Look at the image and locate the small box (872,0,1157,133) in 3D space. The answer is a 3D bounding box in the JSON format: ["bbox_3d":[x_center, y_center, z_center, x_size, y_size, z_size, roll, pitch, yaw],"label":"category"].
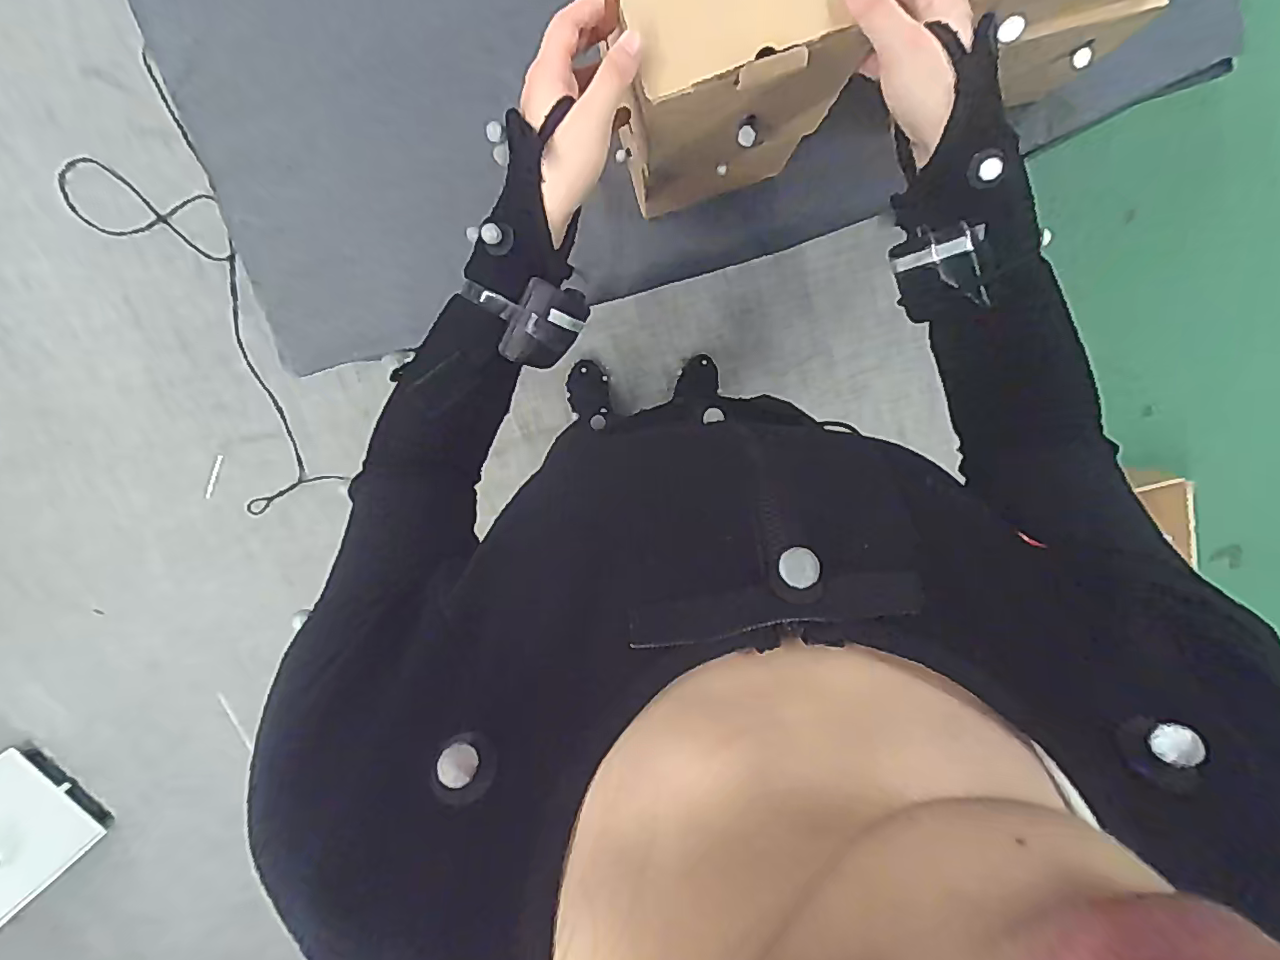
[{"bbox_3d":[0.356,-0.488,0.544,0.179,0.176,0.168,-11,100,4],"label":"small box"}]

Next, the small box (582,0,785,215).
[{"bbox_3d":[0.053,-0.405,0.570,0.179,0.176,0.168,-17,101,3],"label":"small box"}]

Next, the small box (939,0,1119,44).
[{"bbox_3d":[0.337,-0.463,0.382,0.179,0.176,0.168,-13,100,5],"label":"small box"}]

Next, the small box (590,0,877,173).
[{"bbox_3d":[0.052,-0.362,0.411,0.168,0.176,0.179,-17,101,5],"label":"small box"}]
